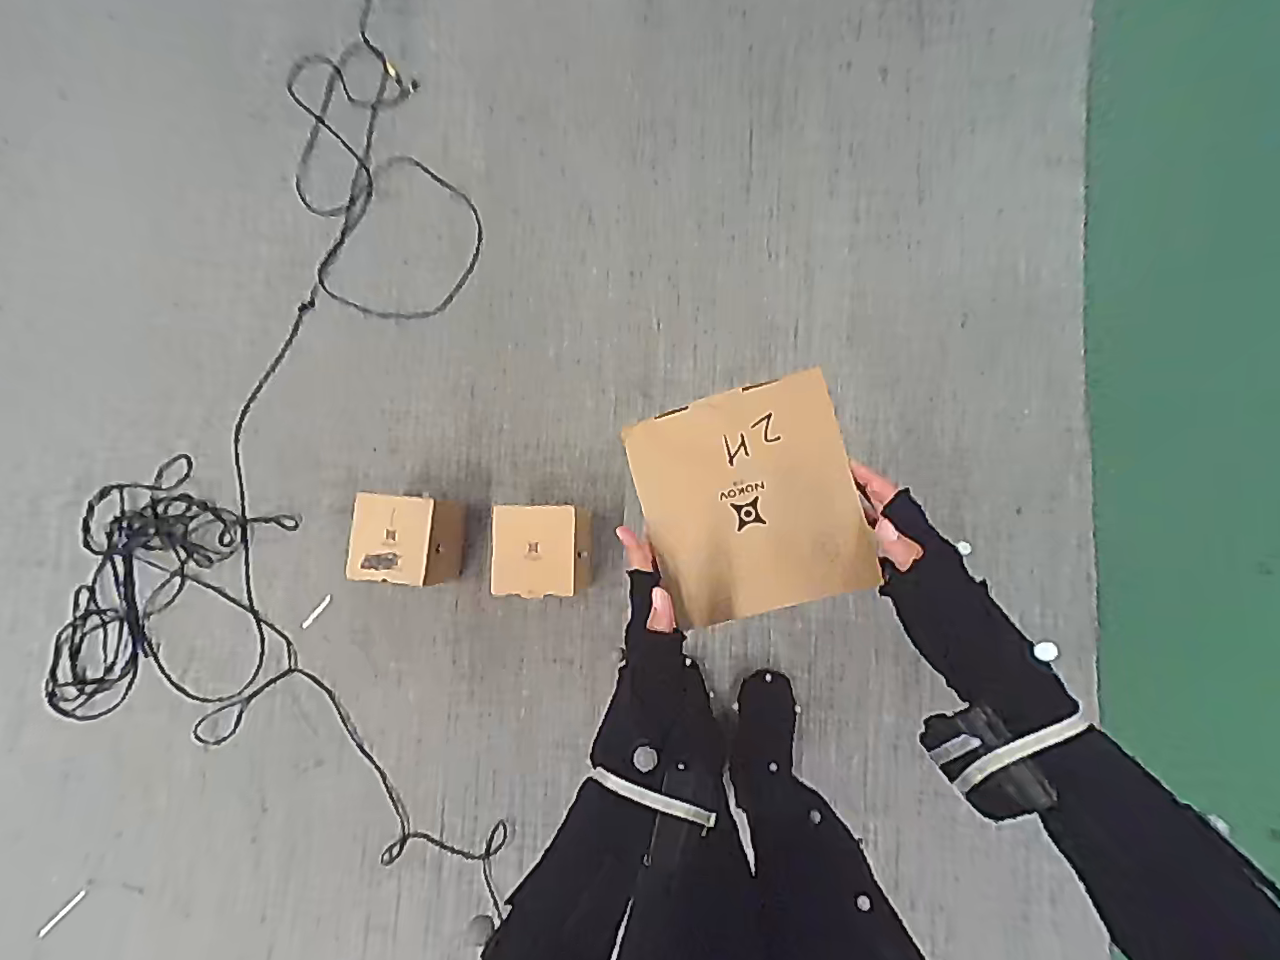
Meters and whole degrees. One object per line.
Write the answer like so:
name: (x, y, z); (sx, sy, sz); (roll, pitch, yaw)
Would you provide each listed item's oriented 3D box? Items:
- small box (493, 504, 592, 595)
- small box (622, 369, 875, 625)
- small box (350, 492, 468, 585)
small box: (-0.198, 0.143, 1.135); (0.168, 0.176, 0.179); (0, 85, 6)
small box: (0.098, 0.014, 0.507); (0.168, 0.176, 0.179); (-16, 88, 10)
small box: (-0.487, 0.124, 1.163); (0.168, 0.176, 0.179); (5, 84, 6)
